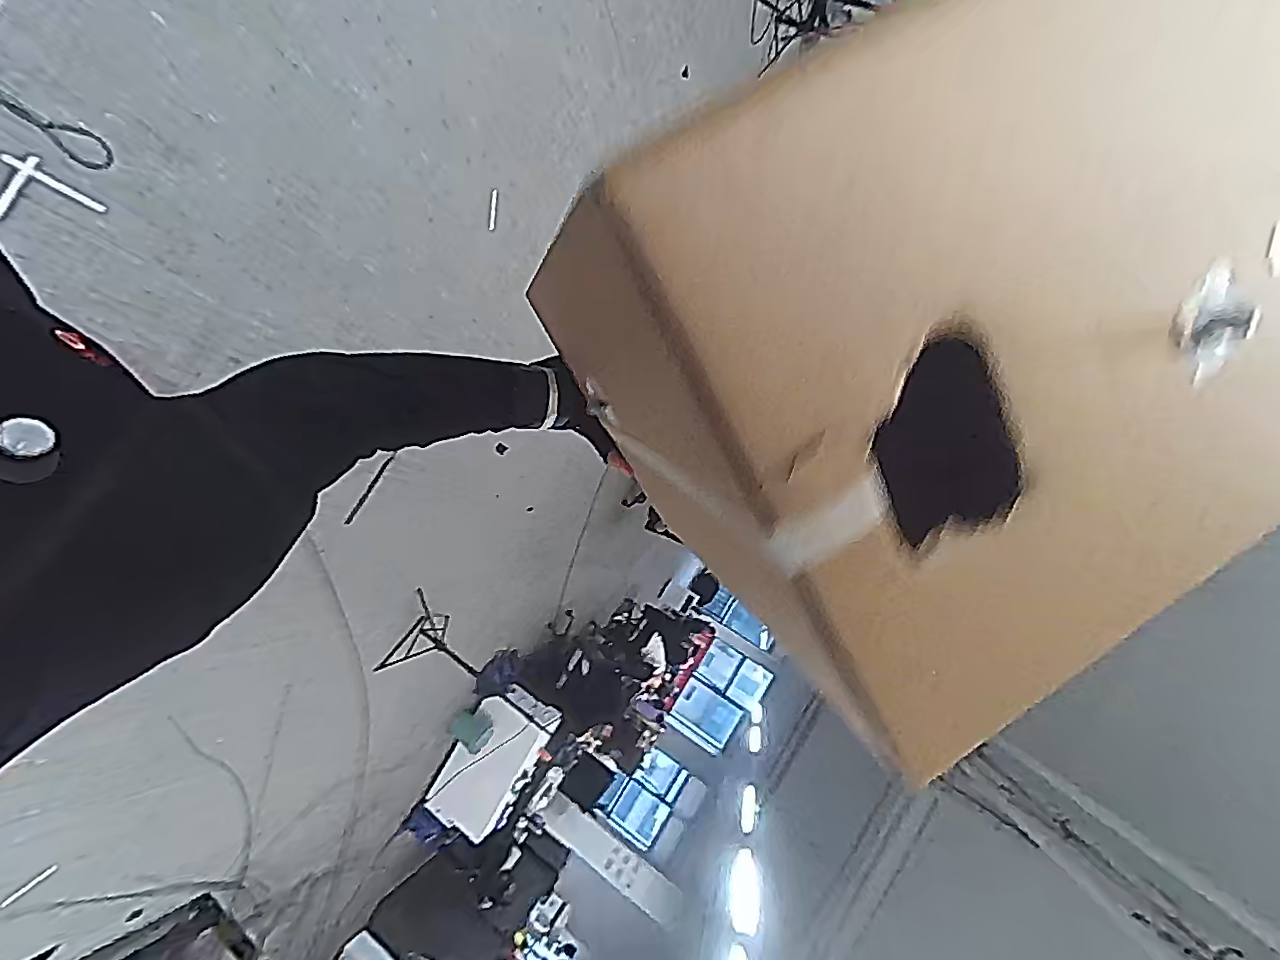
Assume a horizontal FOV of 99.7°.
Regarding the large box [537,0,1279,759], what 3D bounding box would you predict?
[{"bbox_3d":[0.137,-0.097,0.430,0.320,0.320,0.408,-31,-160,-3],"label":"large box"}]
